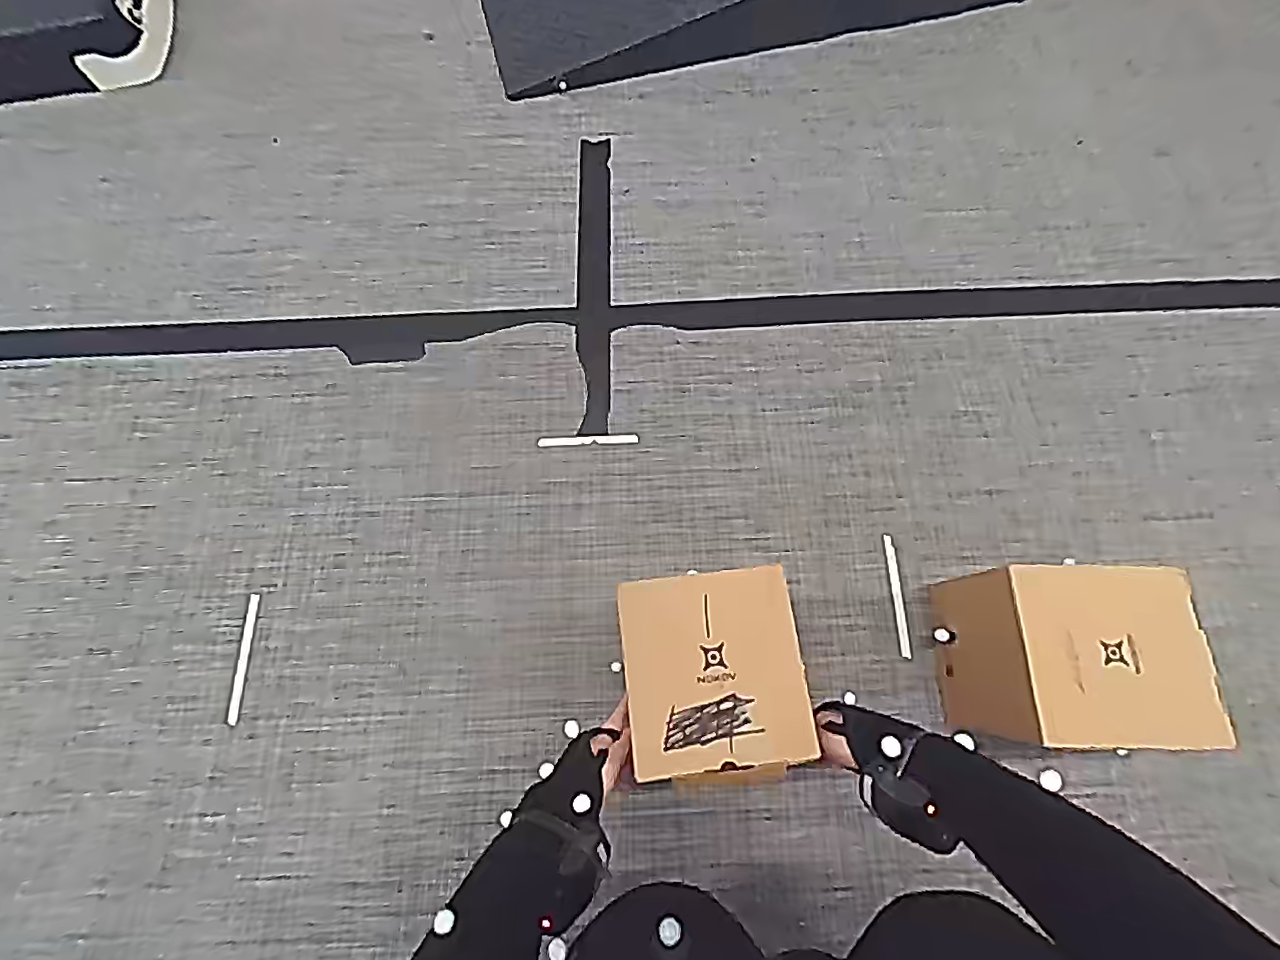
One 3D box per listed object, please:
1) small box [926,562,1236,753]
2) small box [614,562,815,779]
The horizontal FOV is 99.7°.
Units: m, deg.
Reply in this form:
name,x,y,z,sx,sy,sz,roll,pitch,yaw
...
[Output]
name,x,y,z,sx,sy,sz,roll,pitch,yaw
small box,0.441,0.183,0.575,0.179,0.176,0.168,1,72,0
small box,0.064,0.191,0.567,0.168,0.176,0.179,-6,72,-3
